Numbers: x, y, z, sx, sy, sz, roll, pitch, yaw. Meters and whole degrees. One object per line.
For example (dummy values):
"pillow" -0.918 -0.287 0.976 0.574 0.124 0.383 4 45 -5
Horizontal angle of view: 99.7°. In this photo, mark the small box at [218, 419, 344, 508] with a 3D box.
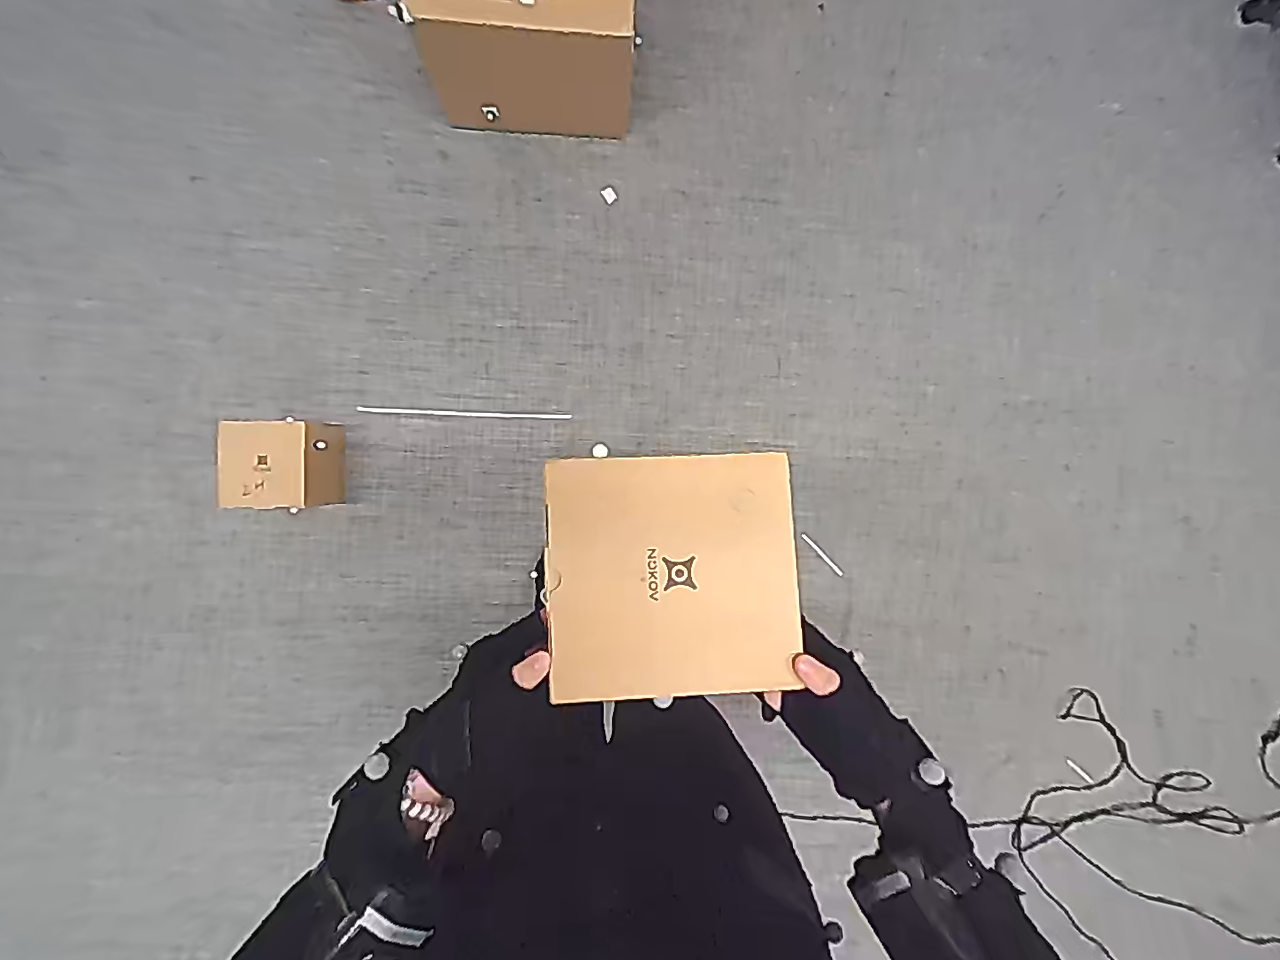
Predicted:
"small box" -0.748 -0.032 1.143 0.168 0.176 0.179 1 91 -4

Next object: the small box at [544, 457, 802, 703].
"small box" 0.018 0.073 0.448 0.179 0.176 0.168 -2 84 -2
